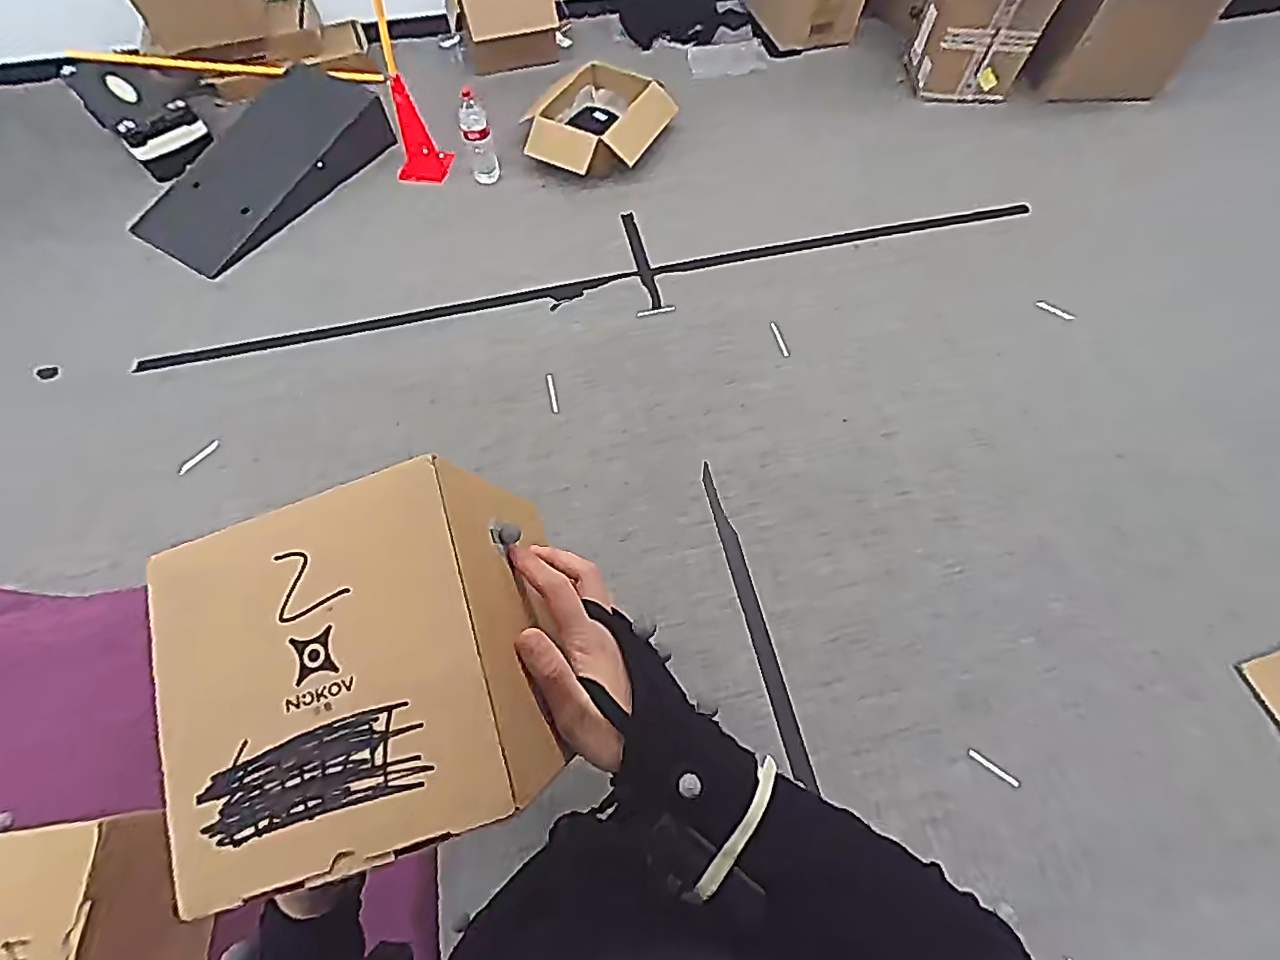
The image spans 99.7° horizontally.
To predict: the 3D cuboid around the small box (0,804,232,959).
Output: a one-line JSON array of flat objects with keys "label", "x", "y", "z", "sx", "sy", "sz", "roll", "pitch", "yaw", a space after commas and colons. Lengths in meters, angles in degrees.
[{"label": "small box", "x": -0.535, "y": 0.411, "z": 0.500, "sx": 0.179, "sy": 0.176, "sz": 0.168, "roll": -7, "pitch": 64, "yaw": -4}]
